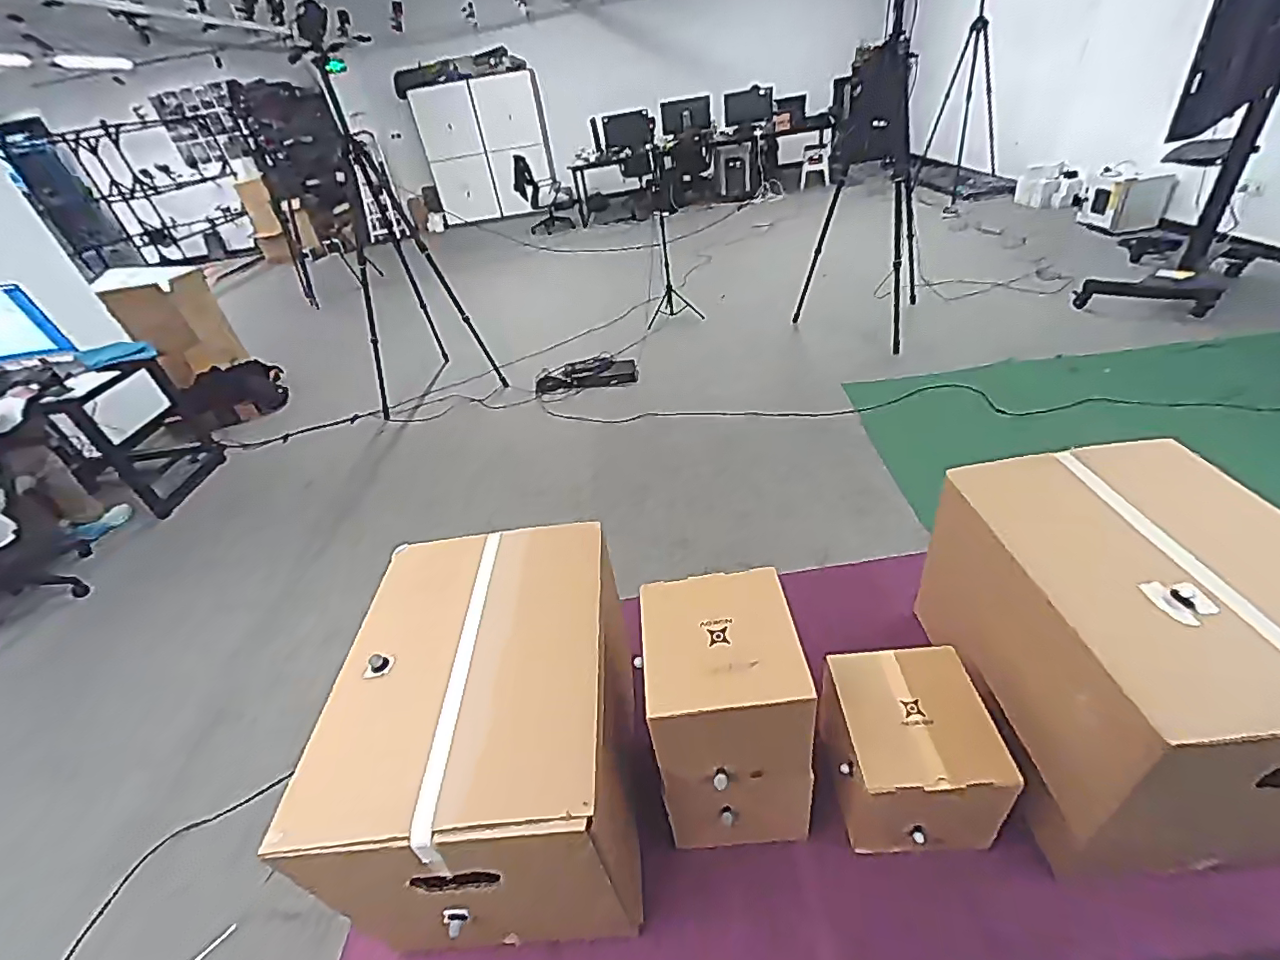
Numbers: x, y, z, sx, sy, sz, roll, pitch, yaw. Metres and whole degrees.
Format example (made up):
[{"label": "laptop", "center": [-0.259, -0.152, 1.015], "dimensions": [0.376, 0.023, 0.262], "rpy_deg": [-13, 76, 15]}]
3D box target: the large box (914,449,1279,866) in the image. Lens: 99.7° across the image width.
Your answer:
[{"label": "large box", "center": [0.618, 0.208, 0.702], "dimensions": [0.320, 0.320, 0.408], "rpy_deg": [-7, 37, 4]}]
